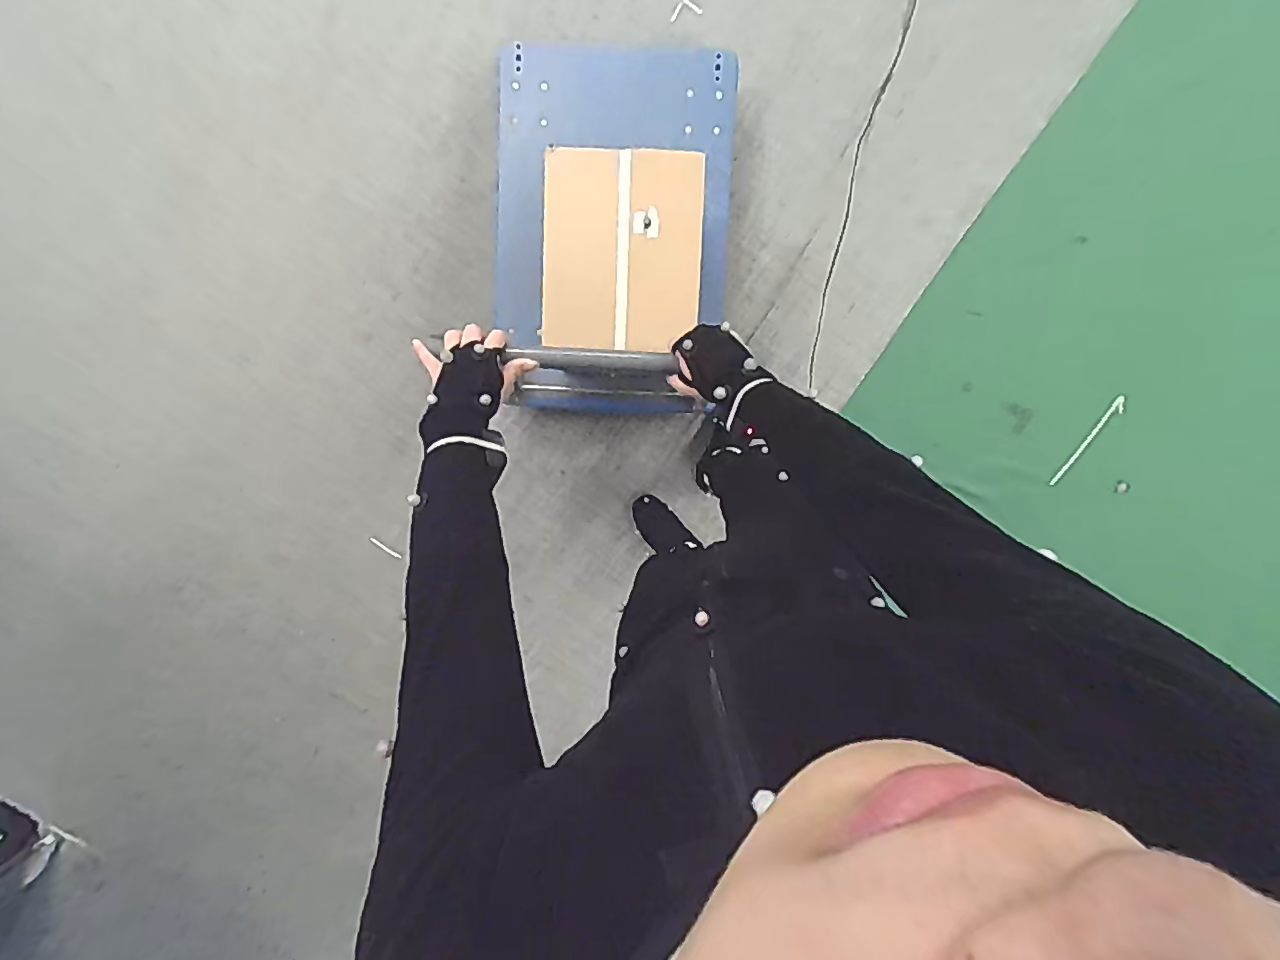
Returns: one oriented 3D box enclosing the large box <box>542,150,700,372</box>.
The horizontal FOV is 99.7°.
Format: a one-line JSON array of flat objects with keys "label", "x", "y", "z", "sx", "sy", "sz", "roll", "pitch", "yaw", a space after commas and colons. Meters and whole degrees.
[{"label": "large box", "x": -0.038, "y": -0.463, "z": 1.232, "sx": 0.320, "sy": 0.320, "sz": 0.408, "roll": 2, "pitch": 96, "yaw": -1}]
